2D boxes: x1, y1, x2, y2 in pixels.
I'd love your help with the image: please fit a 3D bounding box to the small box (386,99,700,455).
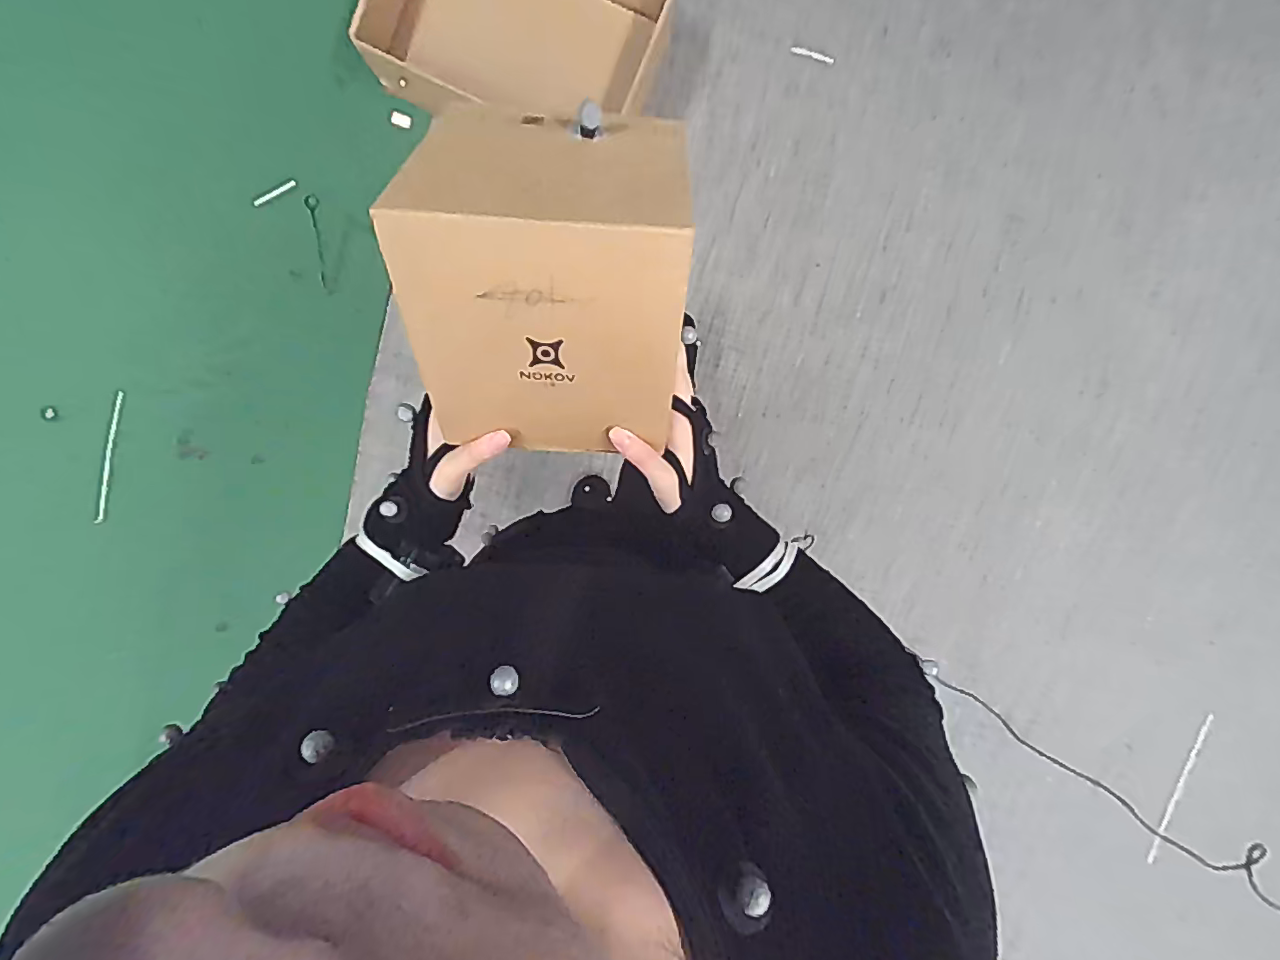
[{"bbox_3d":[-0.052,-0.141,0.392,0.168,0.176,0.179,3,141,-2],"label":"small box"}]
